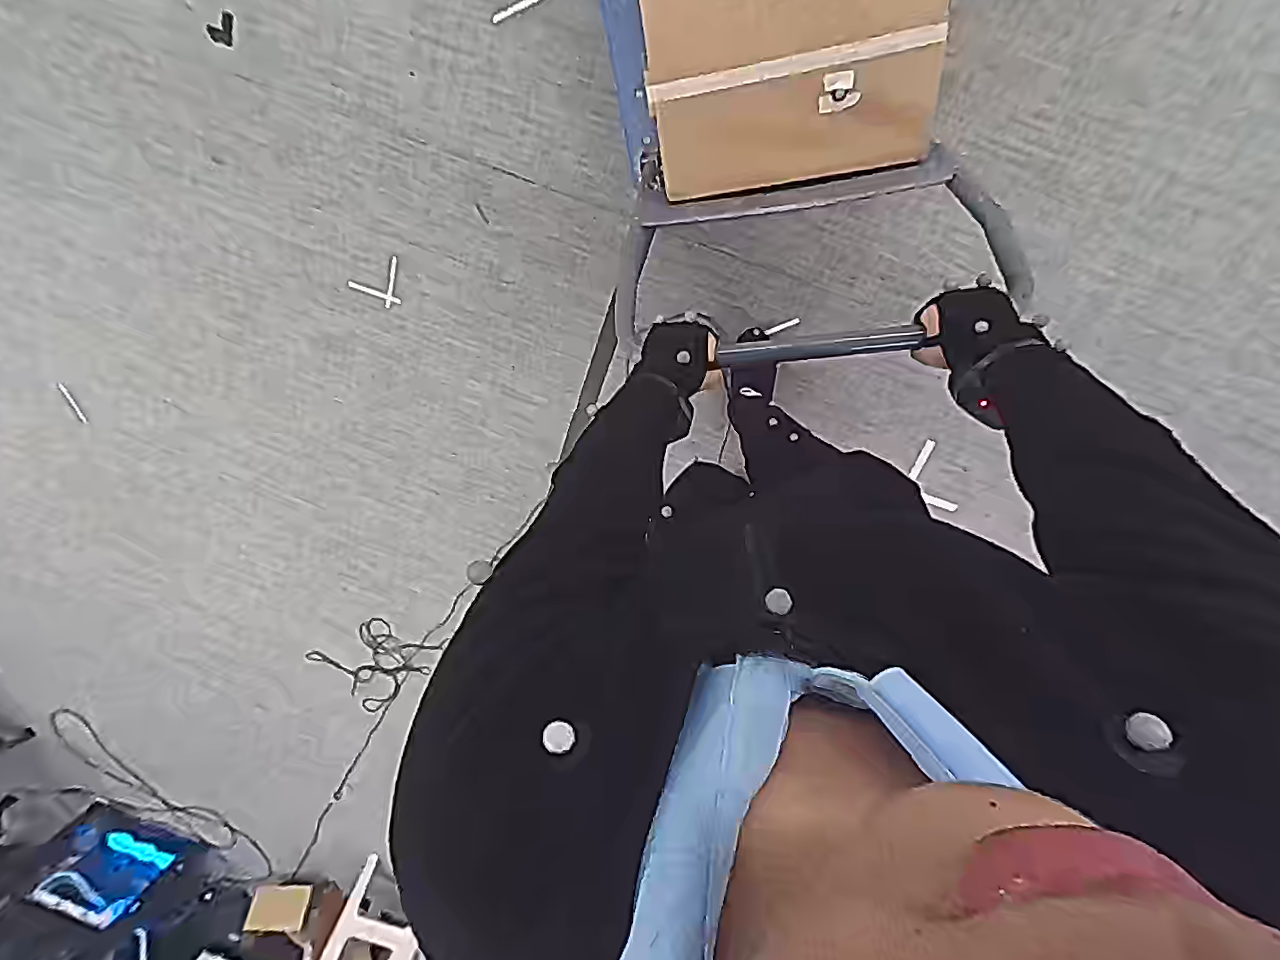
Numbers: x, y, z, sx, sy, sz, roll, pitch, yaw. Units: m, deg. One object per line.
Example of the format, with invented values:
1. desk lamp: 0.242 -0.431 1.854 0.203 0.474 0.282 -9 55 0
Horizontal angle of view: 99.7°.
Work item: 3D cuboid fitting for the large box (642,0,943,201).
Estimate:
1. large box: 0.231 -0.703 0.892 0.408 0.320 0.320 -5 132 11
